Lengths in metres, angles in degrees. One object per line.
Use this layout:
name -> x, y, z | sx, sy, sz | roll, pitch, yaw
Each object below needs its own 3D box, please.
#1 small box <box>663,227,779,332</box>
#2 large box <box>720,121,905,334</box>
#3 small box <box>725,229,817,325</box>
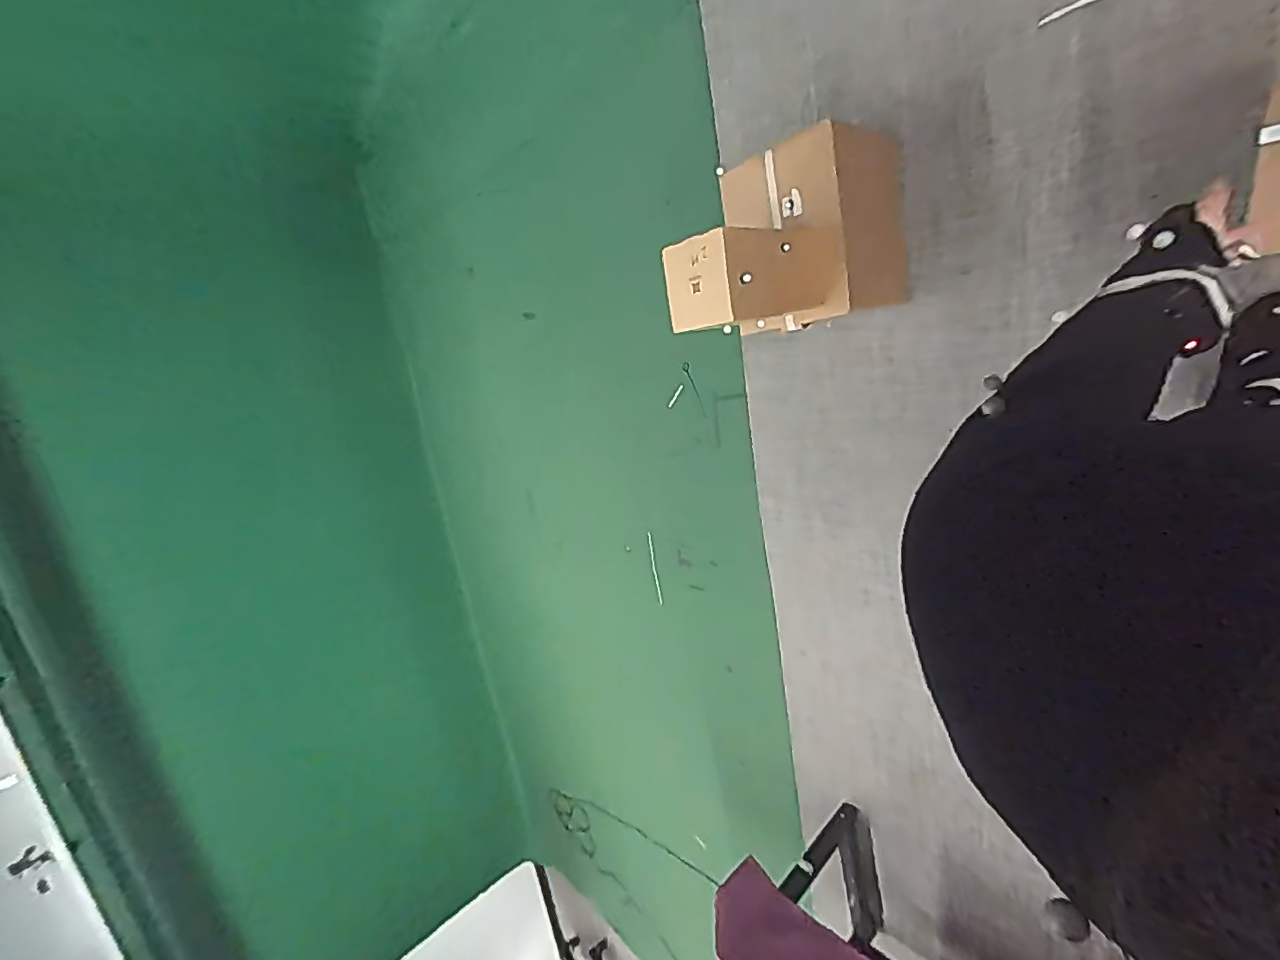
small box -> 0.173, -0.416, 1.129 | 0.168, 0.176, 0.179 | 6, 109, 48
large box -> 0.446, -0.610, 1.381 | 0.320, 0.320, 0.408 | 3, 107, 49
small box -> 0.289, -0.461, 1.238 | 0.168, 0.176, 0.179 | 6, 109, 48
